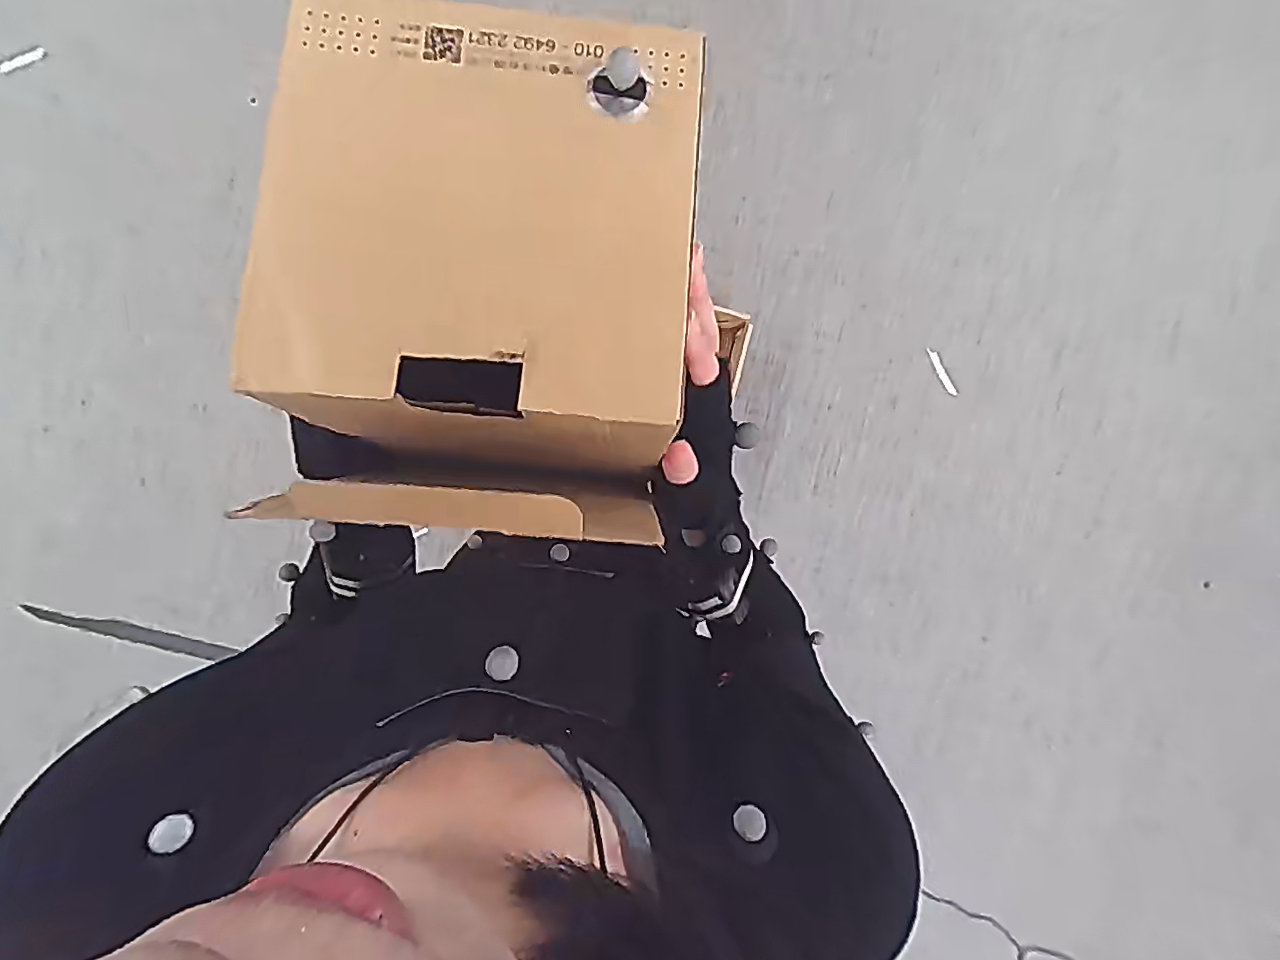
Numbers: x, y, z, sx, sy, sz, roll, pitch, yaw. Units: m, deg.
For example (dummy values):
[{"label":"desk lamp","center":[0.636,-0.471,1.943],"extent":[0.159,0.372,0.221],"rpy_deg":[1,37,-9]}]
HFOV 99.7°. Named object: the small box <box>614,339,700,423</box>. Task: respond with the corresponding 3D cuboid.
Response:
[{"label":"small box","center":[0.041,-0.247,1.394],"extent":[0.179,0.176,0.168],"rpy_deg":[15,92,-1]}]
